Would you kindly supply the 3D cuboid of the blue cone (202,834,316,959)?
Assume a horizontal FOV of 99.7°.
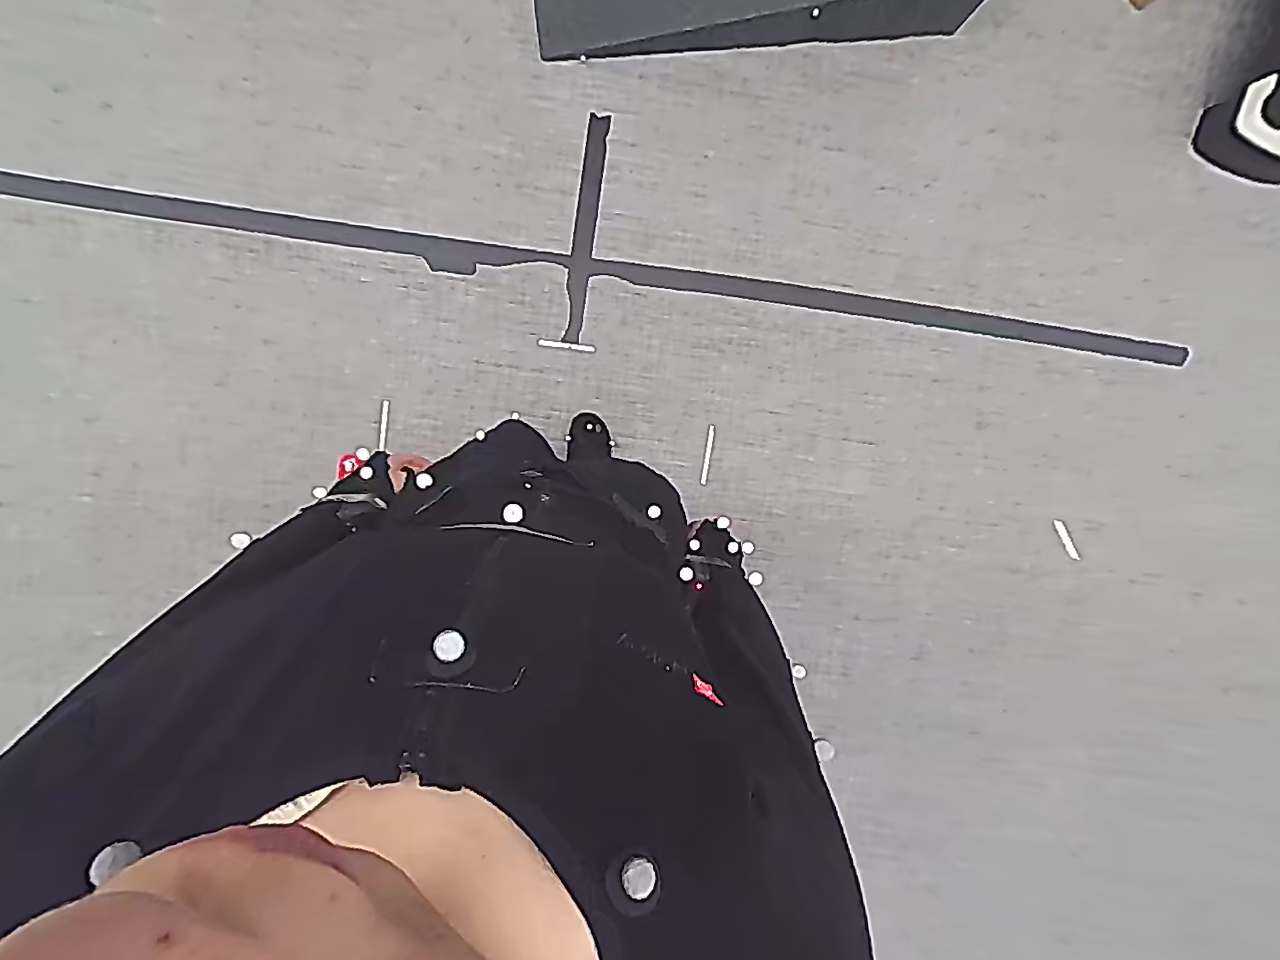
[{"bbox_3d":[-0.946,1.047,1.265,0.193,0.380,0.192,11,97,-5],"label":"blue cone"}]
